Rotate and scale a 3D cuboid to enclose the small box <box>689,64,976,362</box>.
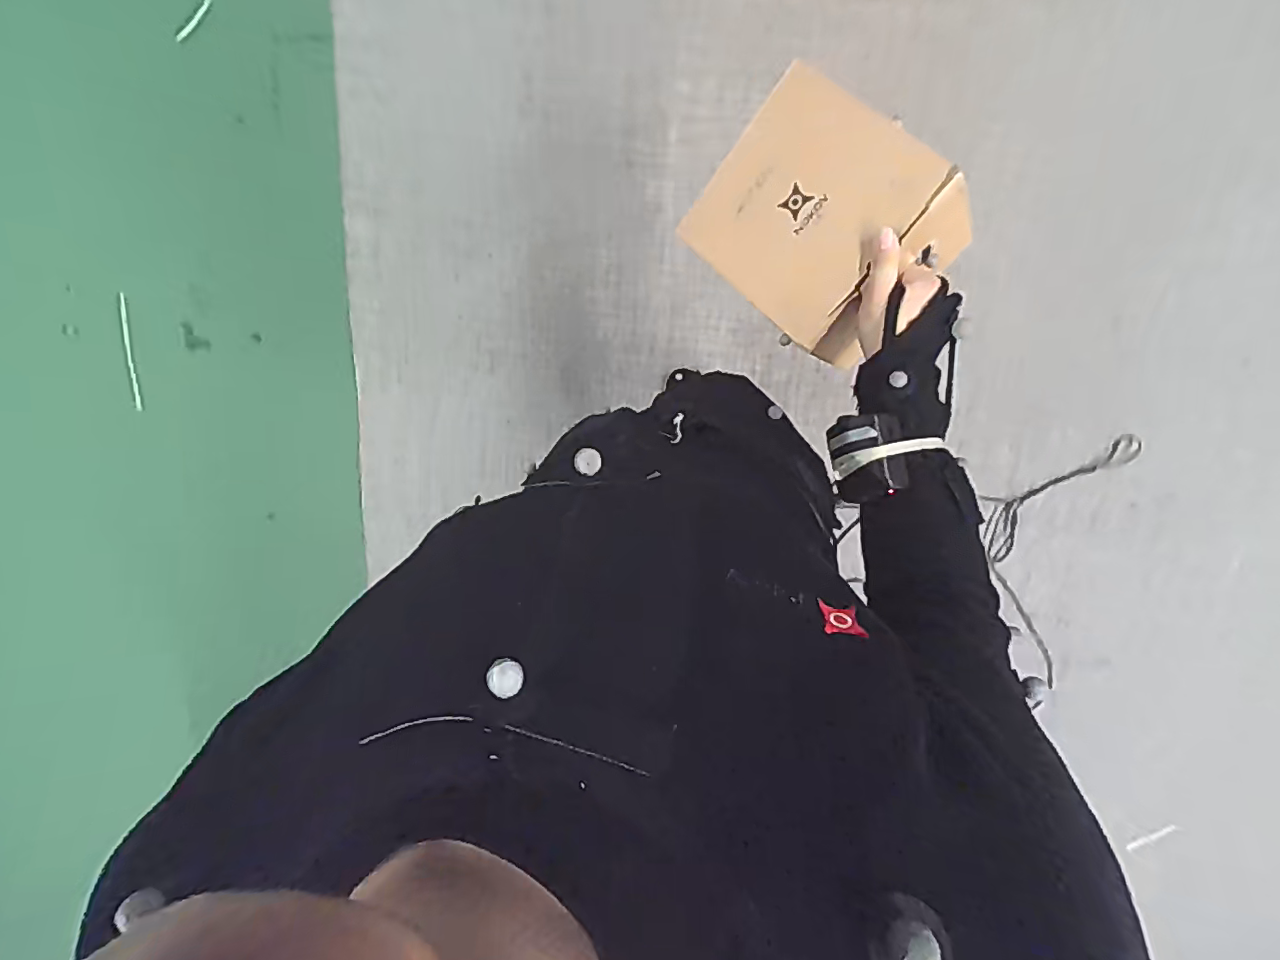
[{"bbox_3d":[0.187,-0.230,0.516,0.168,0.176,0.179,-48,68,24],"label":"small box"}]
